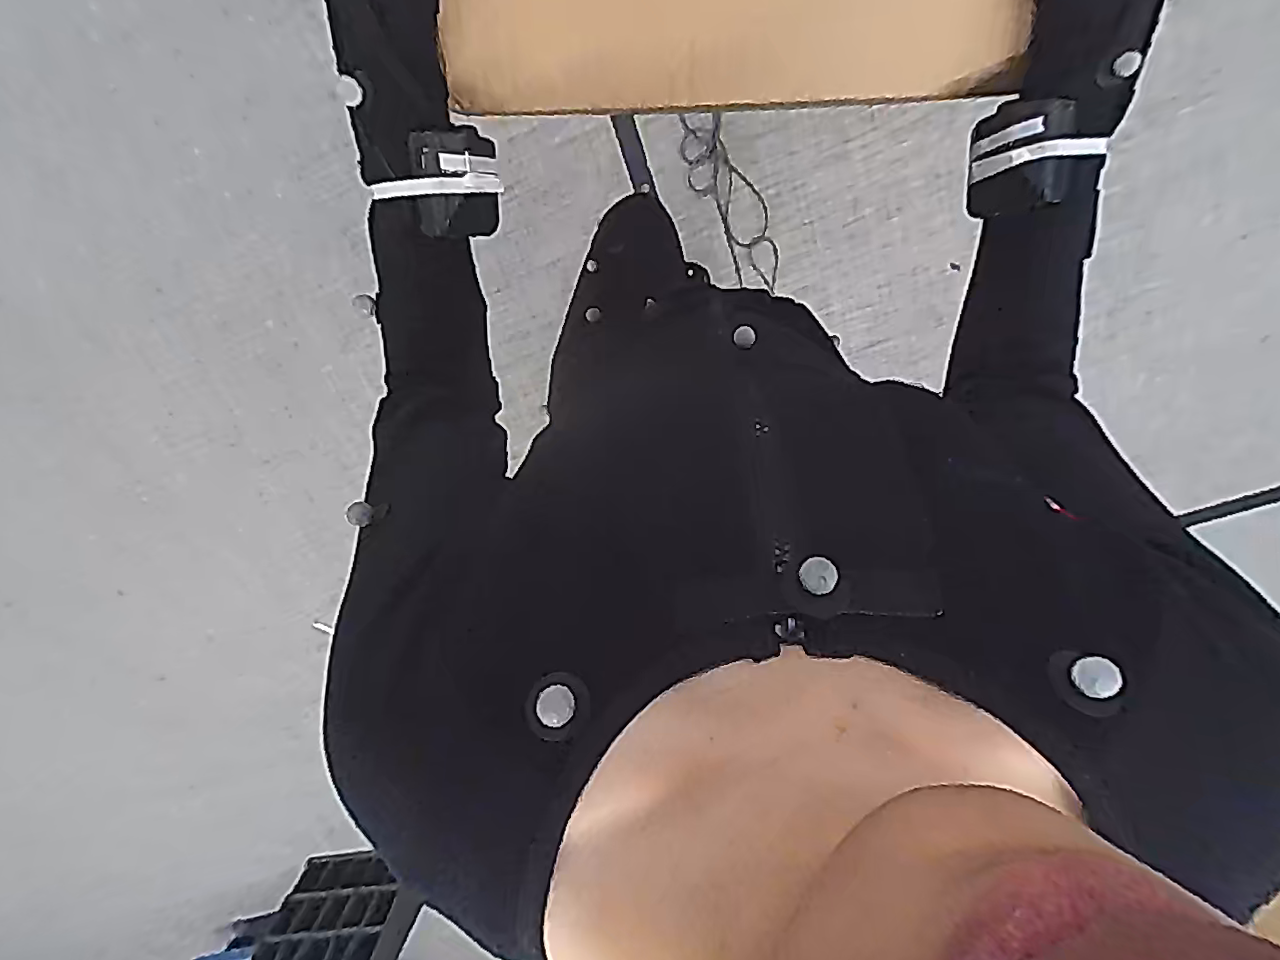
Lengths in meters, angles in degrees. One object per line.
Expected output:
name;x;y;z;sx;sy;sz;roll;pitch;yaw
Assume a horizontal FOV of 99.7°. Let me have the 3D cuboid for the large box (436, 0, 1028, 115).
large box;0.051;-0.487;0.425;0.408;0.320;0.320;-3;124;-2
